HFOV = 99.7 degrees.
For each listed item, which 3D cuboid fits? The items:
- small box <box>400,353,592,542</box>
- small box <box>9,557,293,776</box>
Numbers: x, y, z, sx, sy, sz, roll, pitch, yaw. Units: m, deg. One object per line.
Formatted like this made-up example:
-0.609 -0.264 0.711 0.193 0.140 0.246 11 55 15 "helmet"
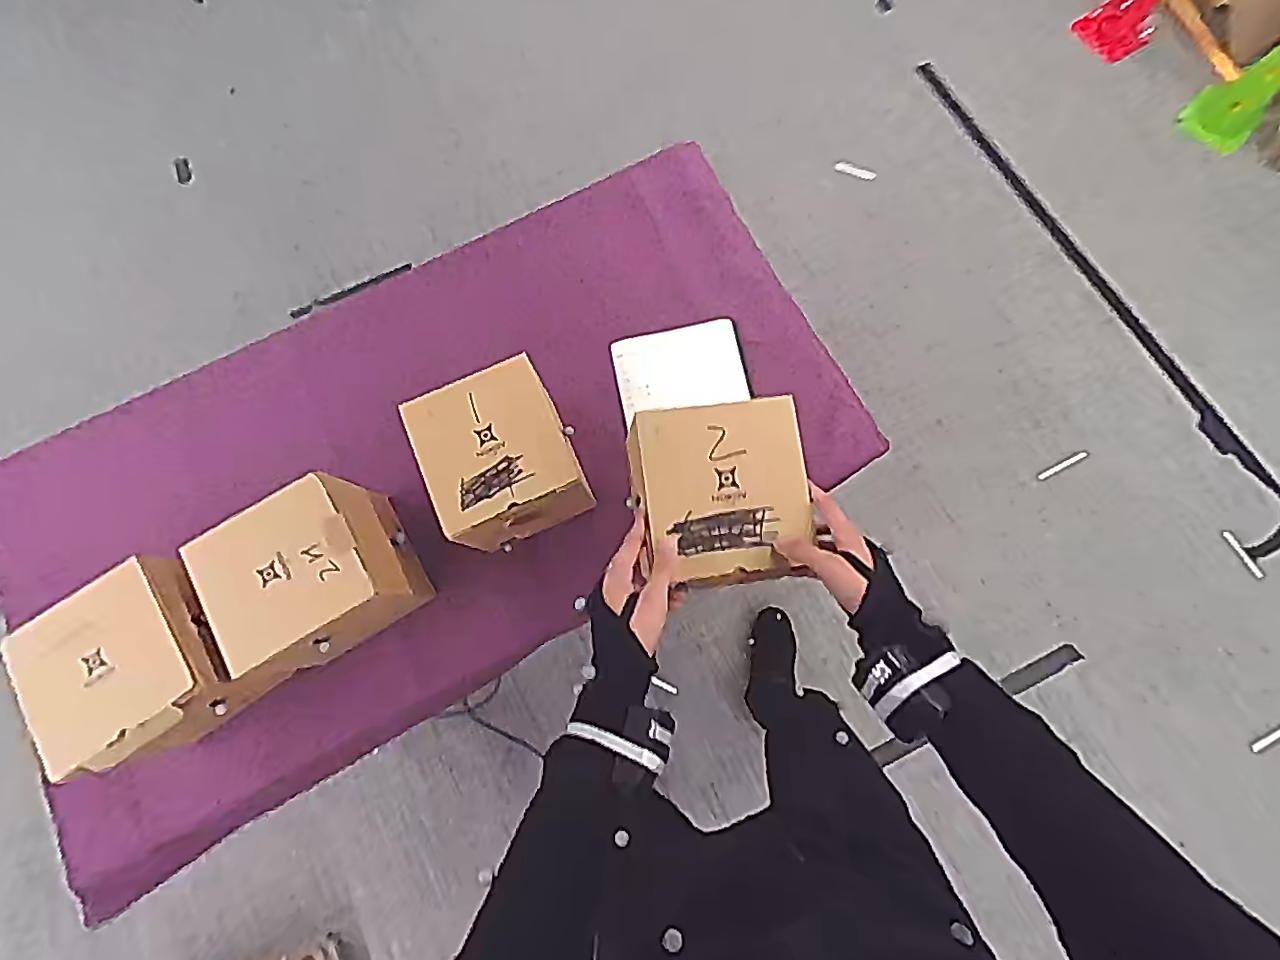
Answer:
-0.173 -0.028 0.702 0.168 0.176 0.179 -24 77 -3 "small box"
-0.578 0.215 0.665 0.168 0.176 0.179 -35 78 -6 "small box"
